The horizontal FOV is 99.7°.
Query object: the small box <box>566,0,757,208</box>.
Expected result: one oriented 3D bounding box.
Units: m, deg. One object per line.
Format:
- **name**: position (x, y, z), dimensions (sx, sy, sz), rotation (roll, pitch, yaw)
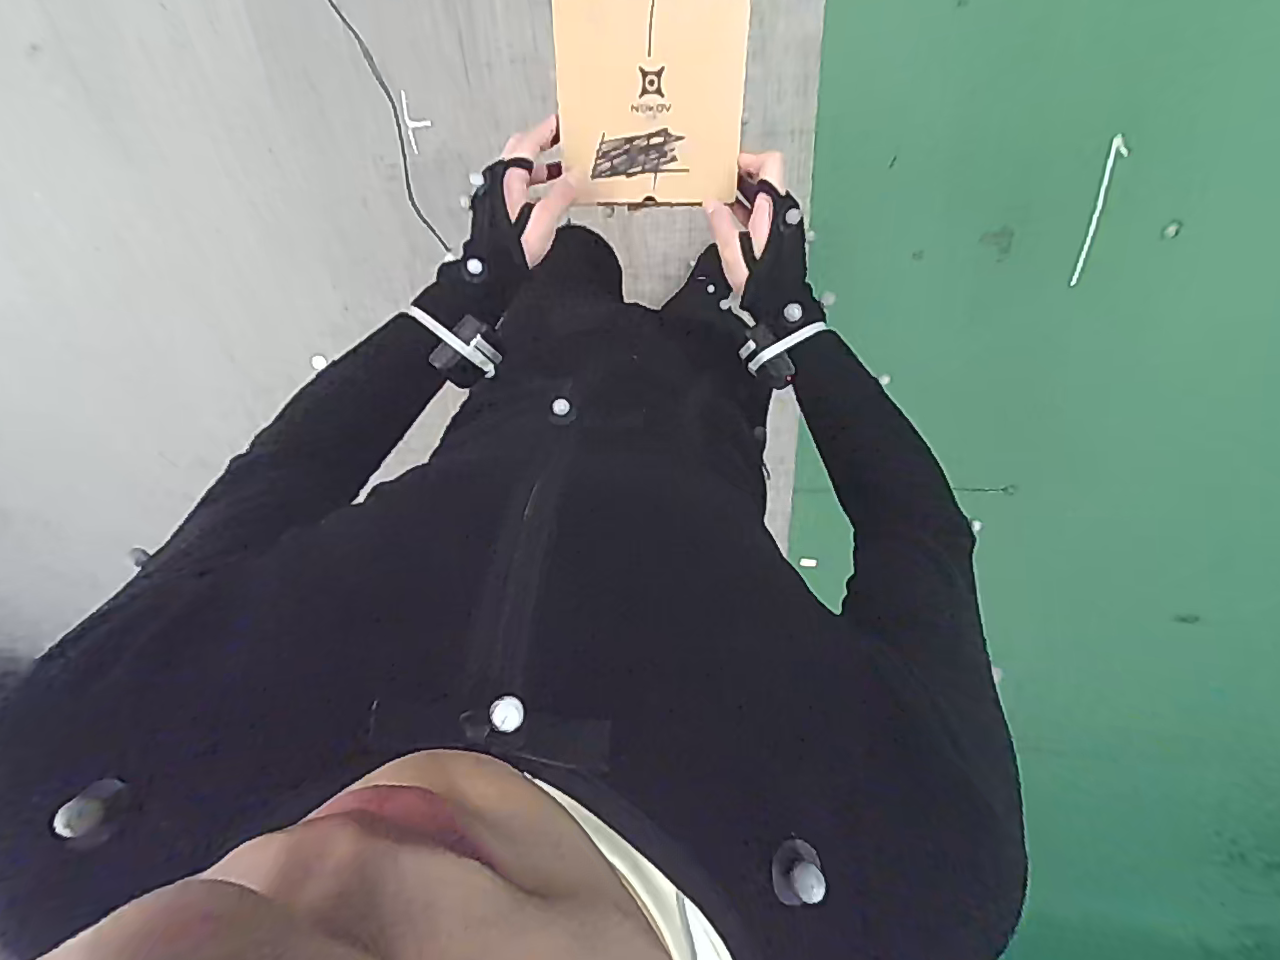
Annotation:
- **small box**: position (0.019, -0.384, 0.562), dimensions (0.168, 0.176, 0.179), rotation (1, 117, 1)
